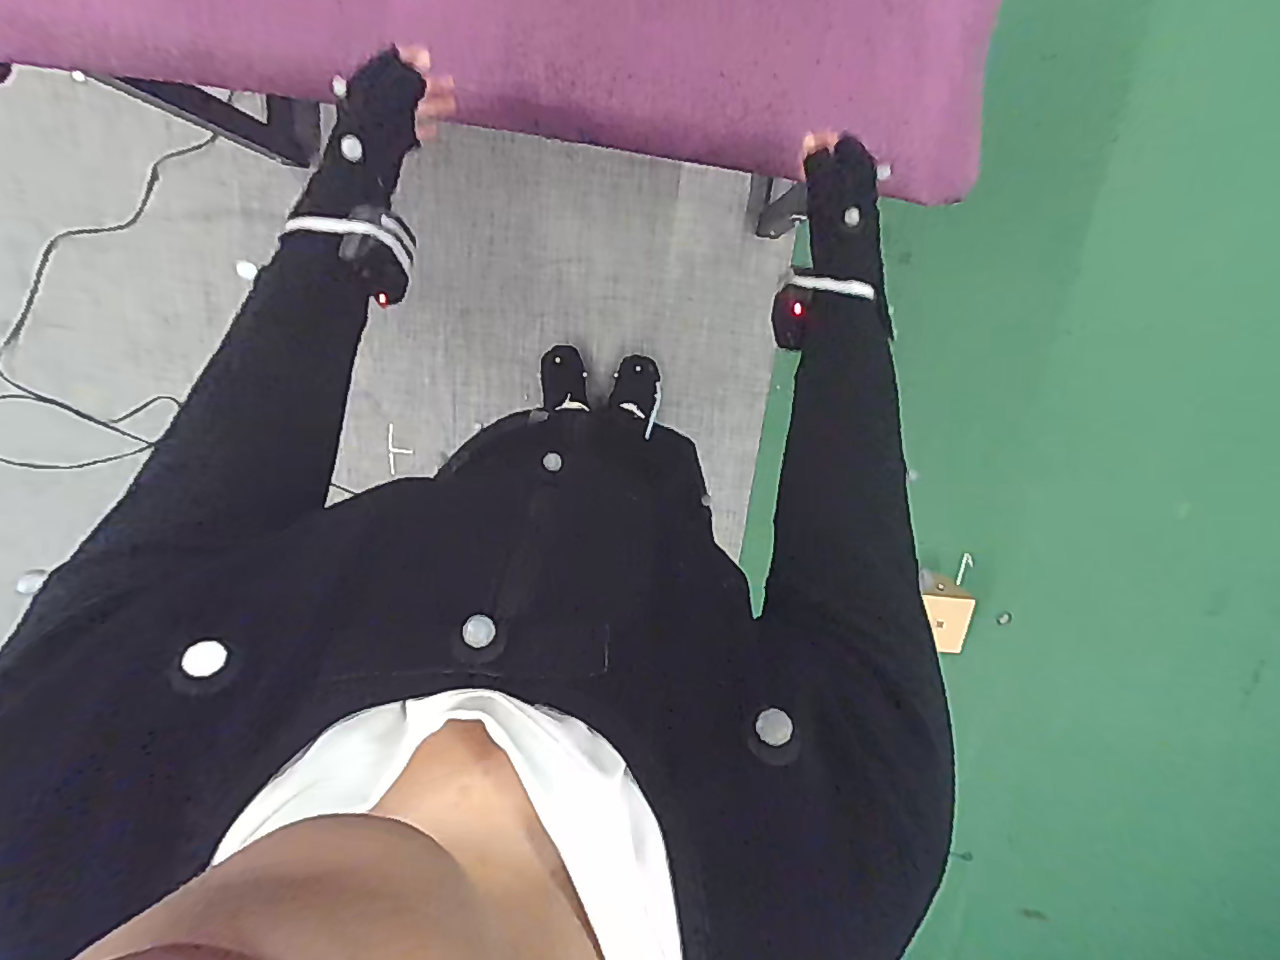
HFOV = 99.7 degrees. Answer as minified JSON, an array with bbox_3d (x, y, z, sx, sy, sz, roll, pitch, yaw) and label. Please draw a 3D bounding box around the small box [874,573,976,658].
[{"bbox_3d":[0.790,0.374,1.516,0.179,0.176,0.168,6,106,-2],"label":"small box"}]
